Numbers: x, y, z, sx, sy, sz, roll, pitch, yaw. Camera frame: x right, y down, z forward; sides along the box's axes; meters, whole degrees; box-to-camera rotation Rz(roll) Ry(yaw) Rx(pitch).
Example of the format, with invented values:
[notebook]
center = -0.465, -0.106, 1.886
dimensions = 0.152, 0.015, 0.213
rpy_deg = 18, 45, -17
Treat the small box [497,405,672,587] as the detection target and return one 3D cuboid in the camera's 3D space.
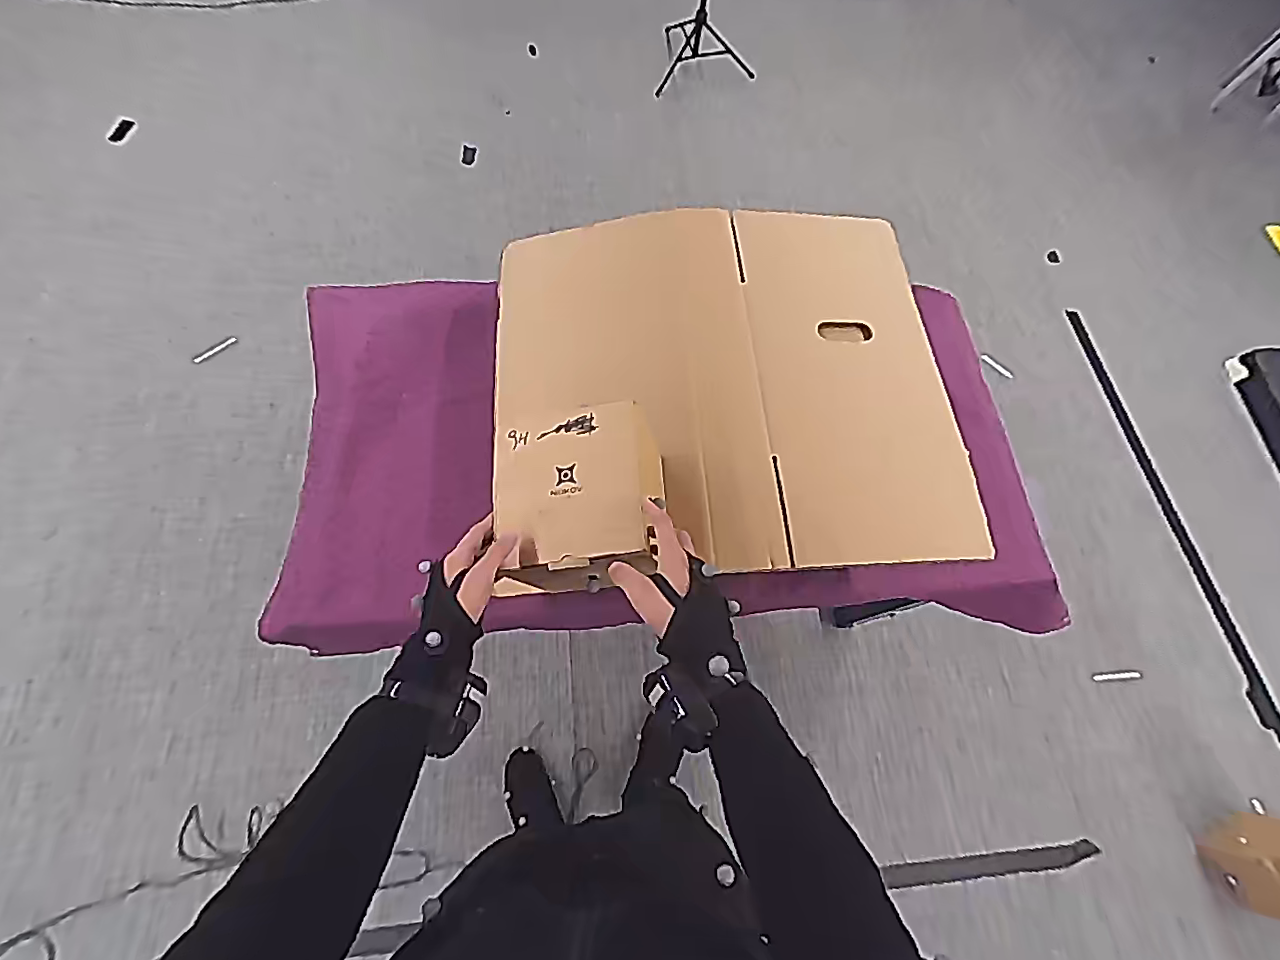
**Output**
[small box]
center = -0.060, 0.032, 0.659
dimensions = 0.168, 0.176, 0.179
rpy_deg = -8, 70, 10
